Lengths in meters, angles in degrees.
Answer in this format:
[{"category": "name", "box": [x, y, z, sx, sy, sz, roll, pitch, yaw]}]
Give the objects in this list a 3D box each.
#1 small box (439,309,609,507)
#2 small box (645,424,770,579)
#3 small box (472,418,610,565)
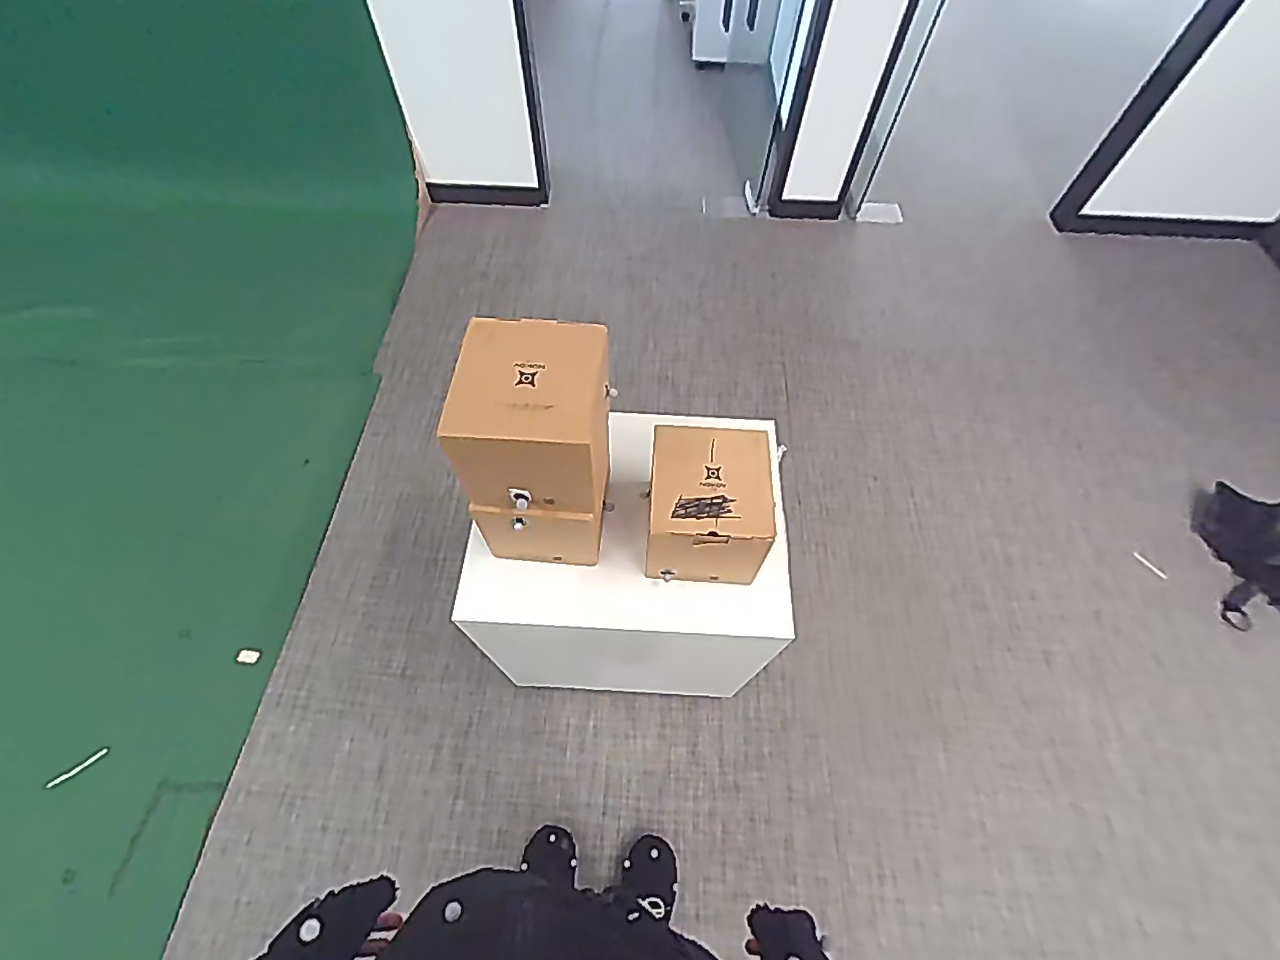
[{"category": "small box", "box": [-0.127, -0.085, 0.674, 0.168, 0.176, 0.179, 3, 61, 0]}, {"category": "small box", "box": [0.095, 0.038, 0.813, 0.168, 0.176, 0.179, 4, 58, 1]}, {"category": "small box", "box": [-0.137, 0.011, 0.824, 0.168, 0.176, 0.179, 5, 59, 2]}]
